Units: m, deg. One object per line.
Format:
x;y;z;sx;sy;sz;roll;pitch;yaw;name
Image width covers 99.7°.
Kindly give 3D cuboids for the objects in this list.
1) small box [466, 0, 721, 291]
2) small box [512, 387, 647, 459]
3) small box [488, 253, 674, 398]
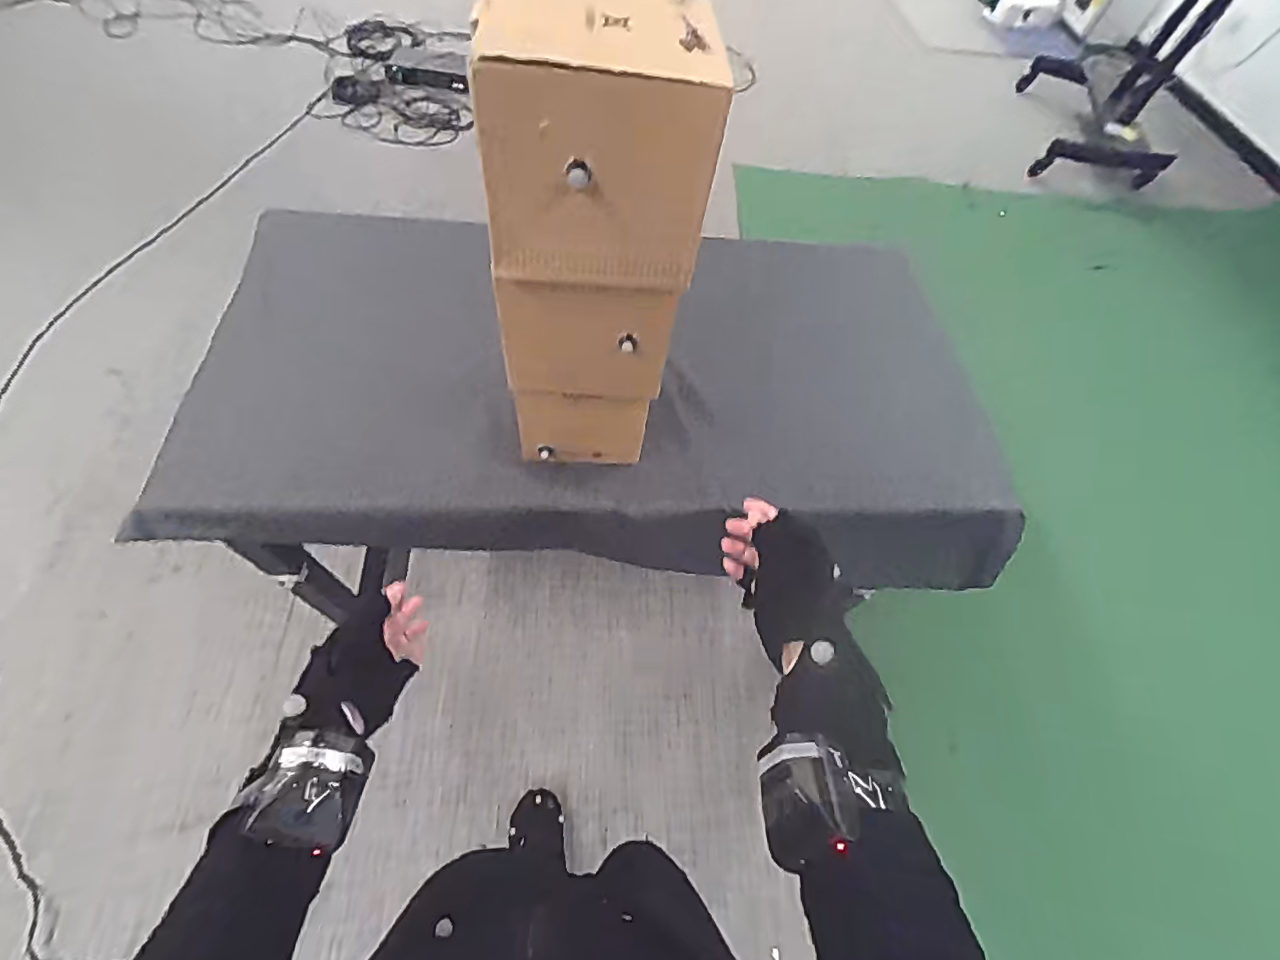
-0.043;-0.285;0.472;0.179;0.176;0.168;-1;57;-9;small box
-0.084;-0.138;0.759;0.168;0.176;0.179;-2;61;-7;small box
-0.062;-0.208;0.613;0.179;0.176;0.168;1;58;-4;small box
